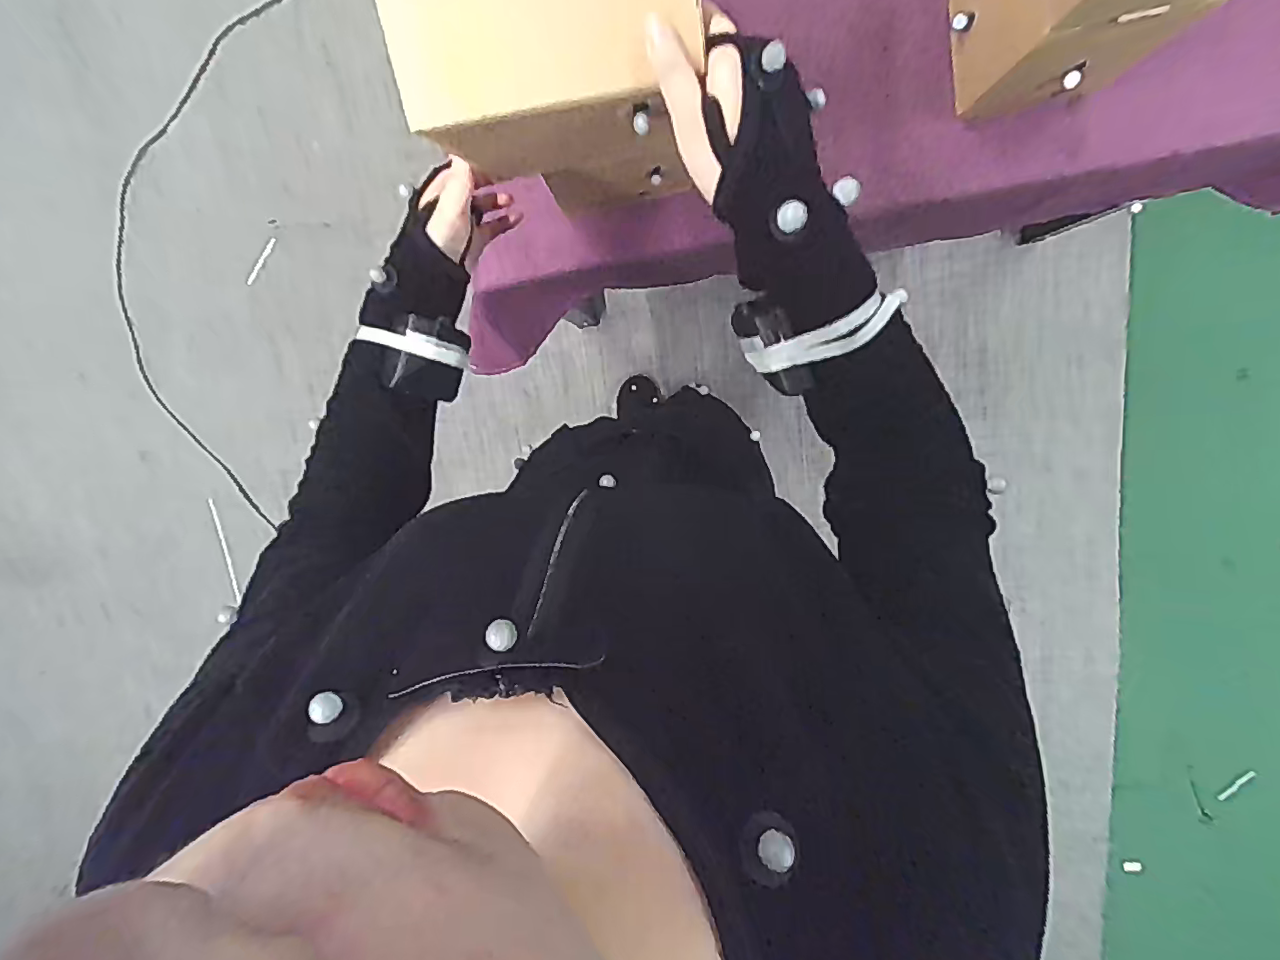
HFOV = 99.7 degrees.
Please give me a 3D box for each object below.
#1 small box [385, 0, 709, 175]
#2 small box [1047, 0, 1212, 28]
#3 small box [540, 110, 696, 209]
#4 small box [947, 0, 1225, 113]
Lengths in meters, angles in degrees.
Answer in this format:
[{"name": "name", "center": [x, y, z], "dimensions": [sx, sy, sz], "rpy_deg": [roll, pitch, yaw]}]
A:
[{"name": "small box", "center": [-0.055, -0.319, 0.358], "dimensions": [0.179, 0.176, 0.168], "rpy_deg": [-8, 110, 4]}, {"name": "small box", "center": [0.440, -0.486, 0.401], "dimensions": [0.179, 0.176, 0.168], "rpy_deg": [-9, 100, 4]}, {"name": "small box", "center": [-0.035, -0.423, 0.602], "dimensions": [0.168, 0.176, 0.179], "rpy_deg": [-11, 99, 3]}, {"name": "small box", "center": [0.445, -0.517, 0.563], "dimensions": [0.168, 0.176, 0.179], "rpy_deg": [-9, 100, 4]}]
